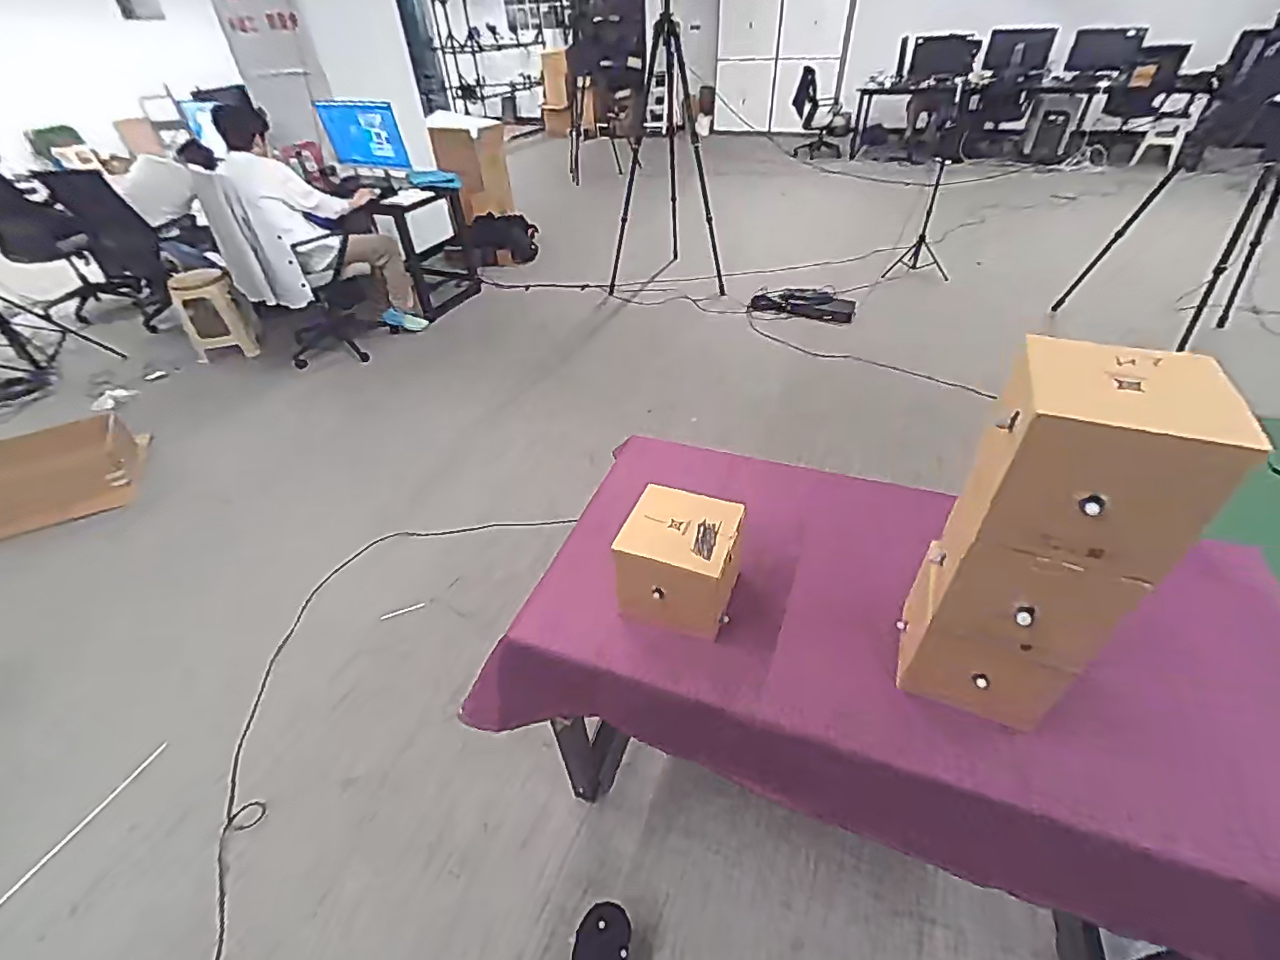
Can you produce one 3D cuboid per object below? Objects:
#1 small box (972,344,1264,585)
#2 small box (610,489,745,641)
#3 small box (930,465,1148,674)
[{"bbox_3d":[0.470,-0.020,0.570,0.168,0.176,0.179,16,43,21],"label":"small box"},{"bbox_3d":[0.067,0.144,0.911,0.179,0.176,0.168,13,42,19],"label":"small box"},{"bbox_3d":[0.479,0.107,0.676,0.168,0.176,0.179,17,44,22],"label":"small box"}]
